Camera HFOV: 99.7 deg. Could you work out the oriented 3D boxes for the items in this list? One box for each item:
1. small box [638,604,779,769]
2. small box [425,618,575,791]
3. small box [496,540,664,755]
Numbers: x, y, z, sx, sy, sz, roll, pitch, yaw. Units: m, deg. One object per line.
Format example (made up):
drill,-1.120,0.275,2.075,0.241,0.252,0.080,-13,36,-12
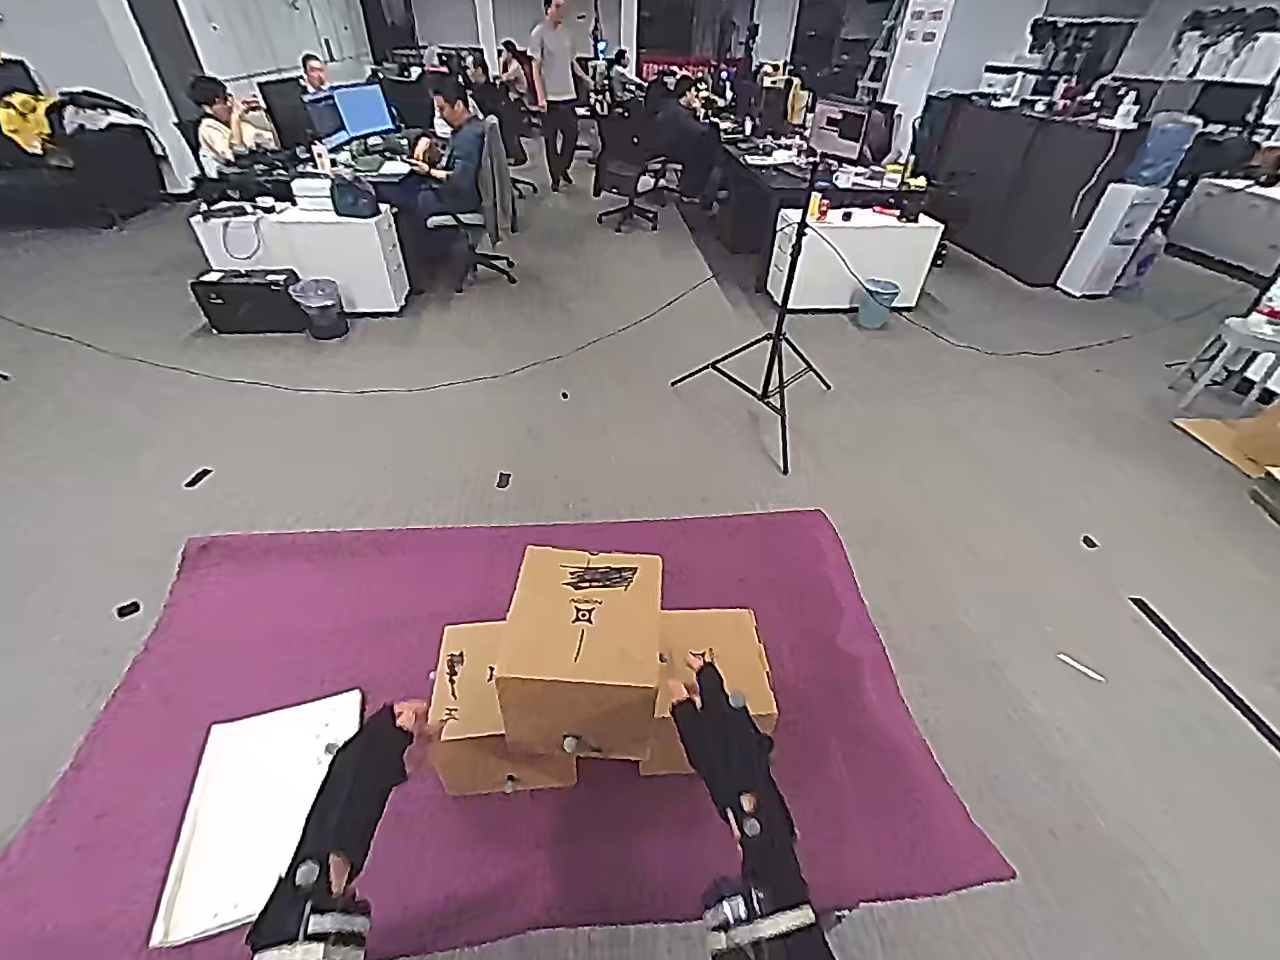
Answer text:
small box,0.085,0.298,0.783,0.179,0.176,0.168,-1,39,-2
small box,-0.179,0.310,0.755,0.179,0.176,0.168,-2,39,-7
small box,-0.061,0.196,0.640,0.168,0.176,0.179,3,40,1
